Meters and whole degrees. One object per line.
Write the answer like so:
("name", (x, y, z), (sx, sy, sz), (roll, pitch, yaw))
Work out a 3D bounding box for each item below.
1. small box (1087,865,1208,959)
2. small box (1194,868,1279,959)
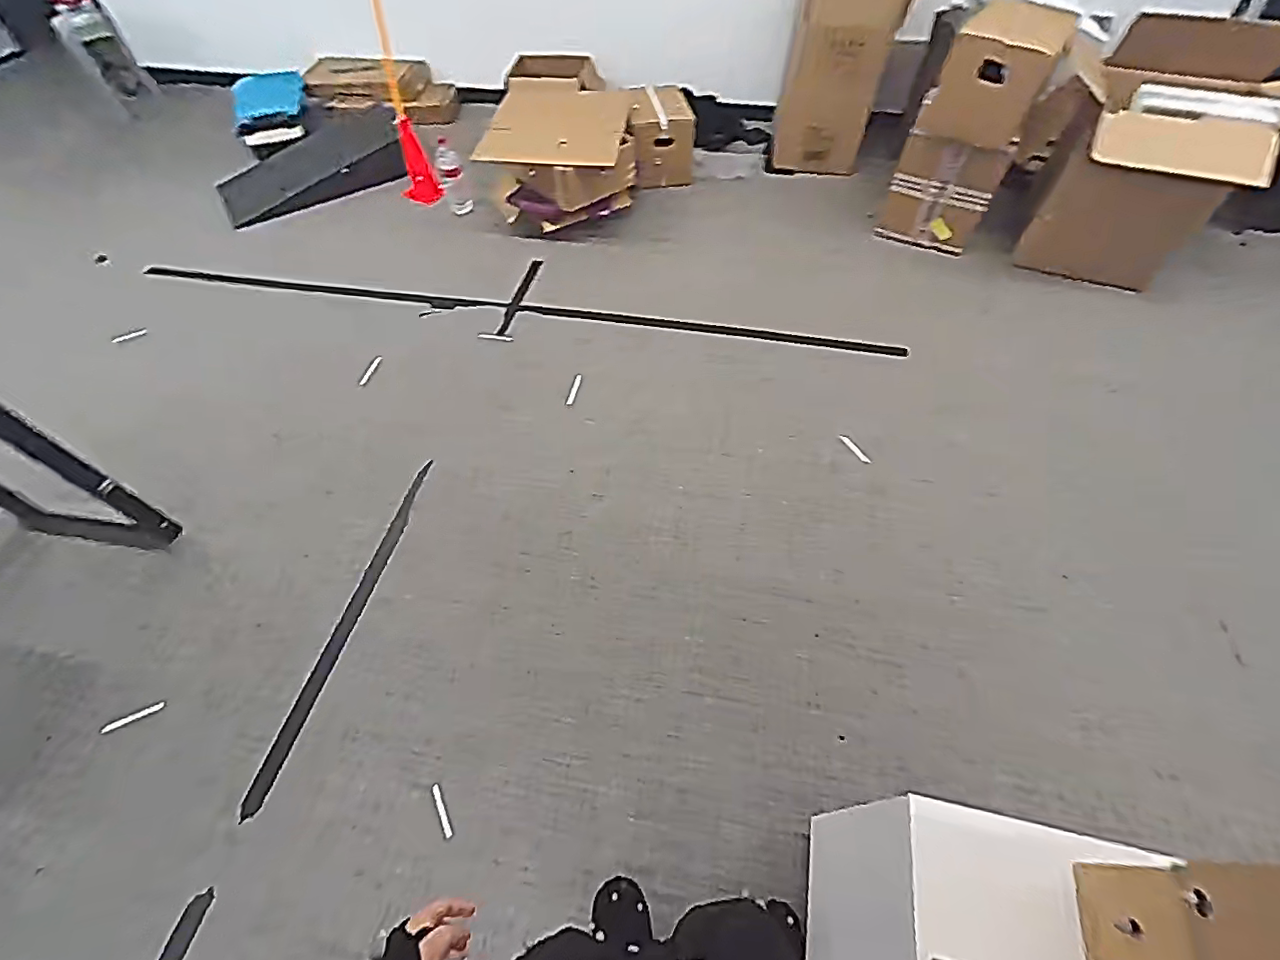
("small box", (0.622, 0.536, 0.576), (0.179, 0.176, 0.168), (13, 57, 10))
("small box", (0.621, 0.440, 0.443), (0.179, 0.176, 0.168), (12, 57, 8))
